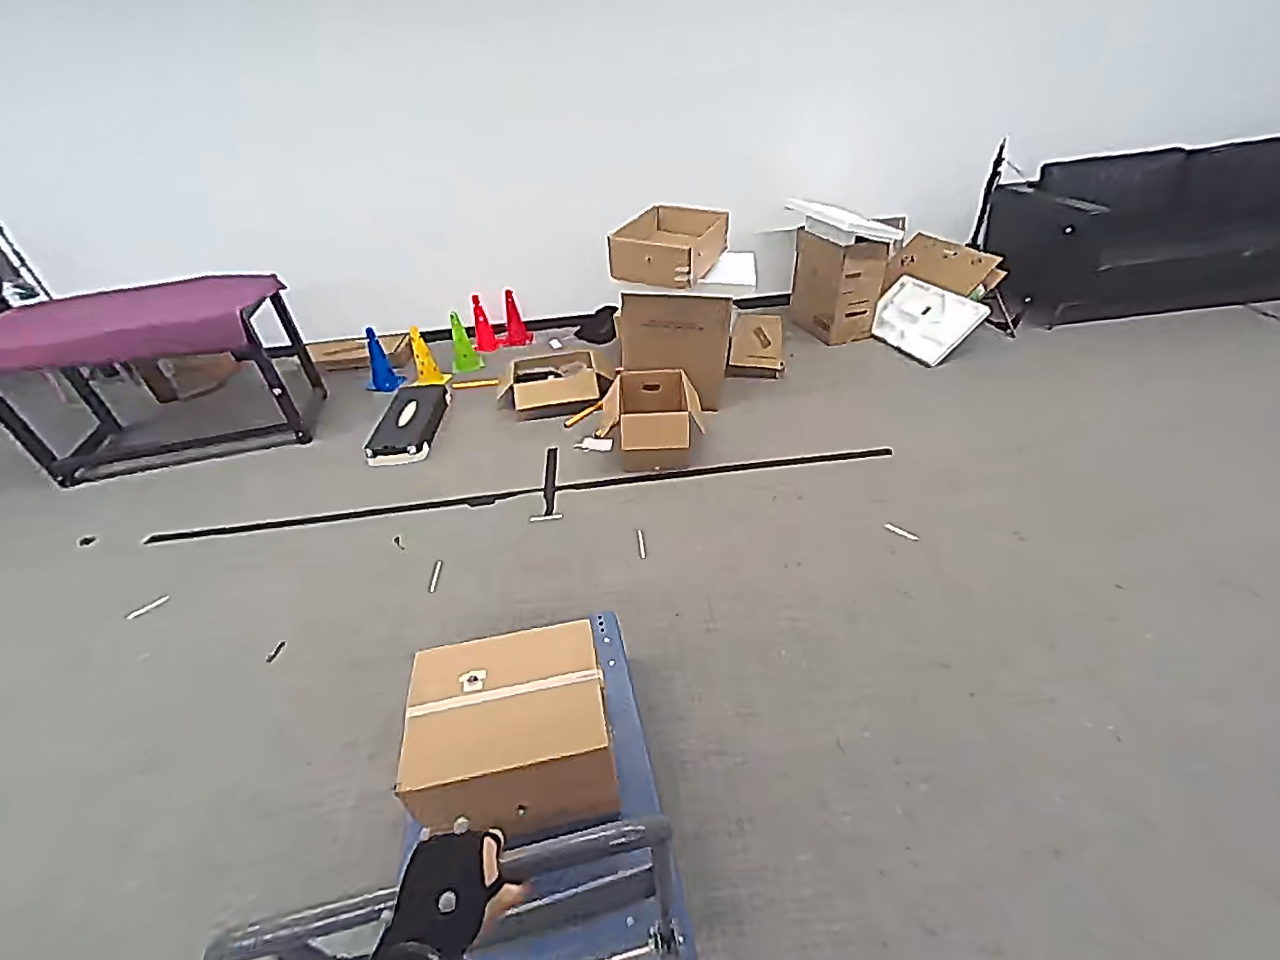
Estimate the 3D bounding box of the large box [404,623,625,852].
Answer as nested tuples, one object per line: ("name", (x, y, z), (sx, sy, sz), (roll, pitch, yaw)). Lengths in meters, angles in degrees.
("large box", (-0.268, 0.584, 1.241), (0.408, 0.320, 0.320), (-11, 37, -6))
